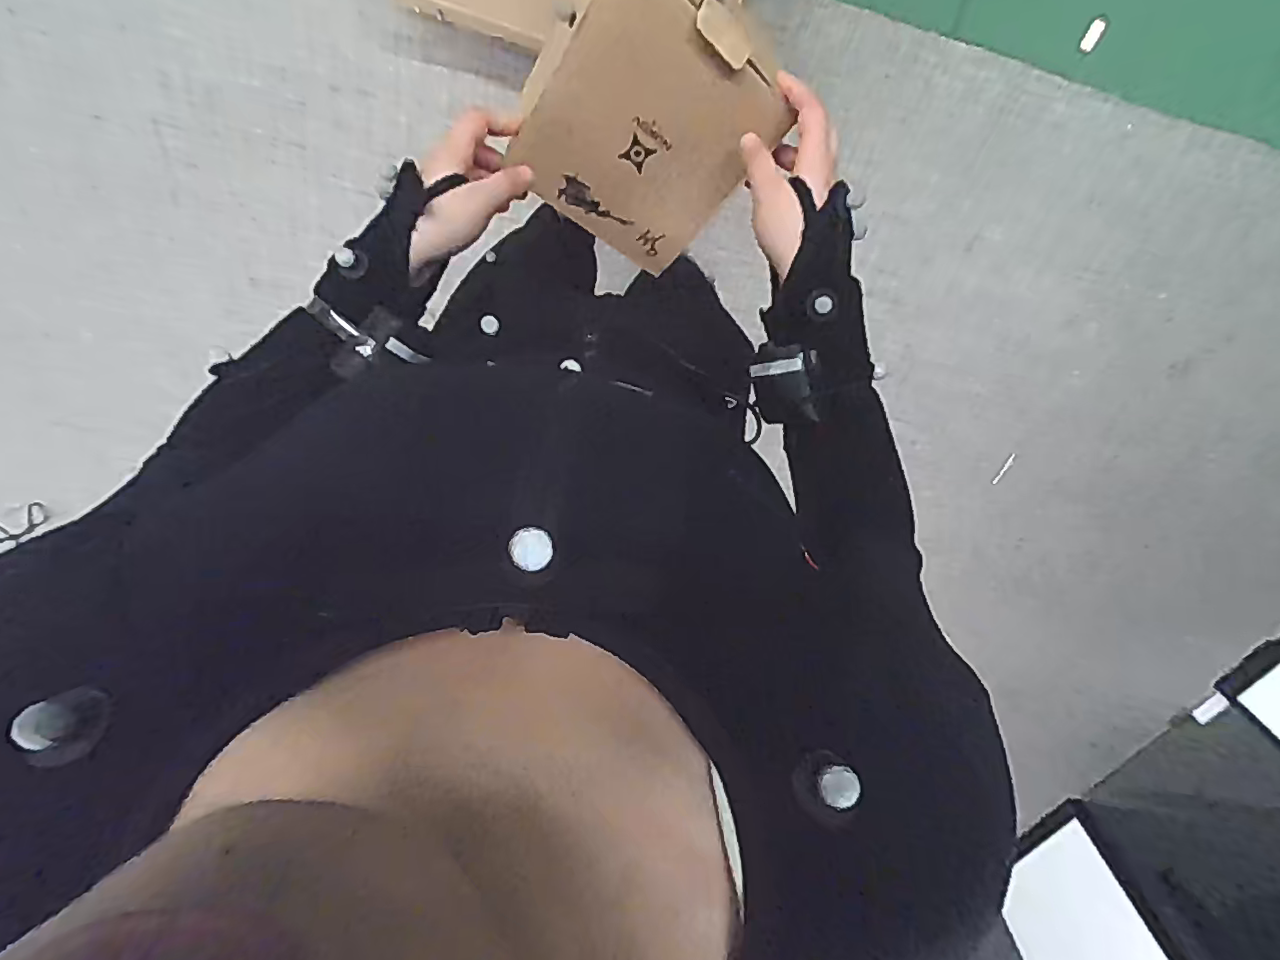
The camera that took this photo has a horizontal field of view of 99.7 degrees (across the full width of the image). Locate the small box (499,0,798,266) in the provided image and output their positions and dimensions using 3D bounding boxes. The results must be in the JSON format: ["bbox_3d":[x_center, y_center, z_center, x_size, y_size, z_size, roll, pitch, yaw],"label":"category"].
[{"bbox_3d":[0.001,-0.333,0.458,0.168,0.176,0.179,24,139,-30],"label":"small box"}]
